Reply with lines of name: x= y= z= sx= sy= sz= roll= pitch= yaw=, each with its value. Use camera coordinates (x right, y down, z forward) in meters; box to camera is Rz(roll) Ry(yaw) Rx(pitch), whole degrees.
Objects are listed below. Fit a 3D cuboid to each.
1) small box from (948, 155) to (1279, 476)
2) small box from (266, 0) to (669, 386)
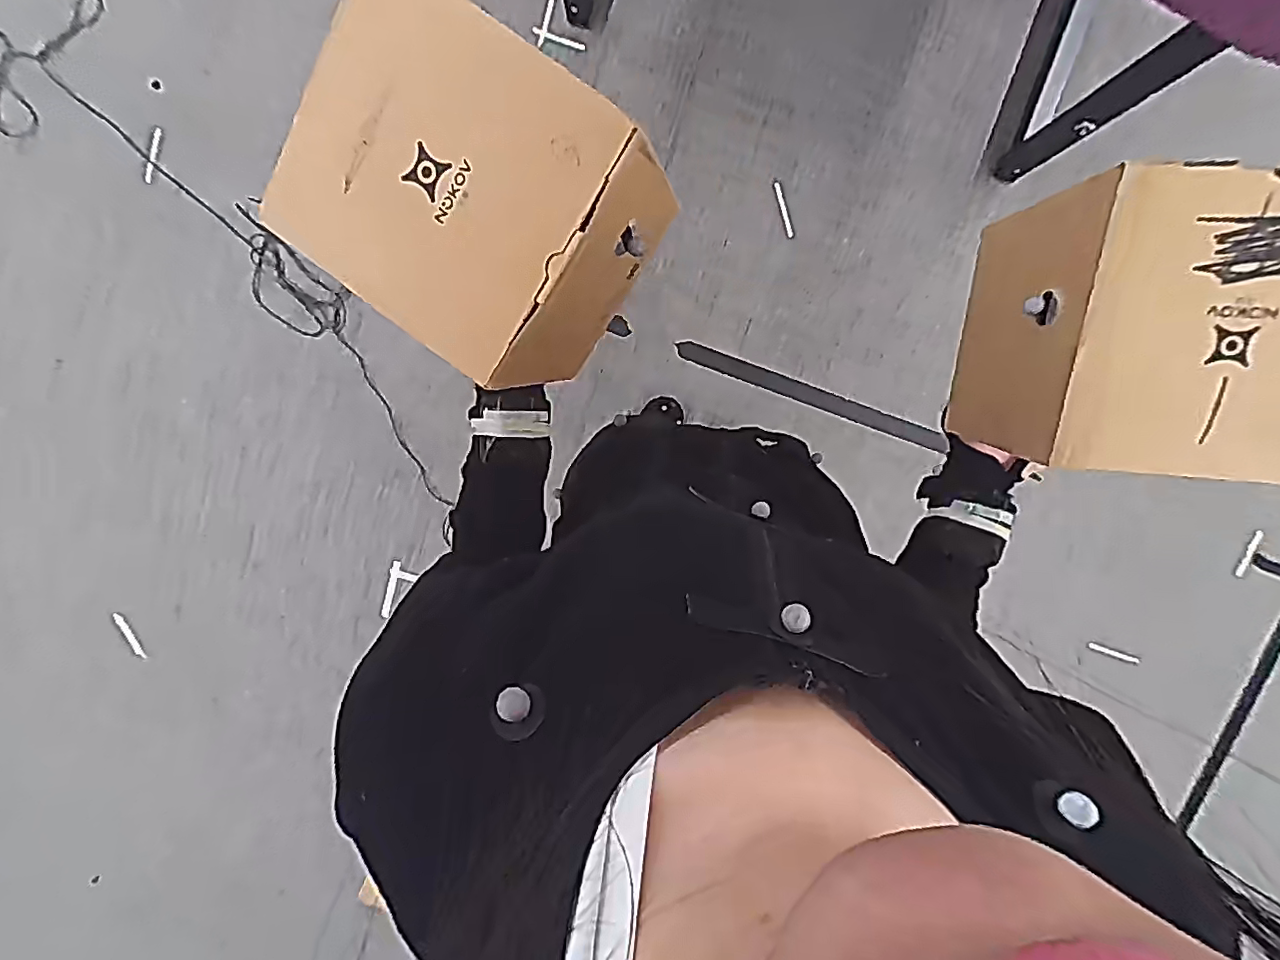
small box: x=0.352 y=-0.109 z=0.391 sx=0.168 sy=0.176 sz=0.179 roll=5 pitch=104 yaw=7
small box: x=-0.097 y=-0.186 z=0.378 sx=0.179 sy=0.176 sz=0.168 roll=36 pitch=106 yaw=2
